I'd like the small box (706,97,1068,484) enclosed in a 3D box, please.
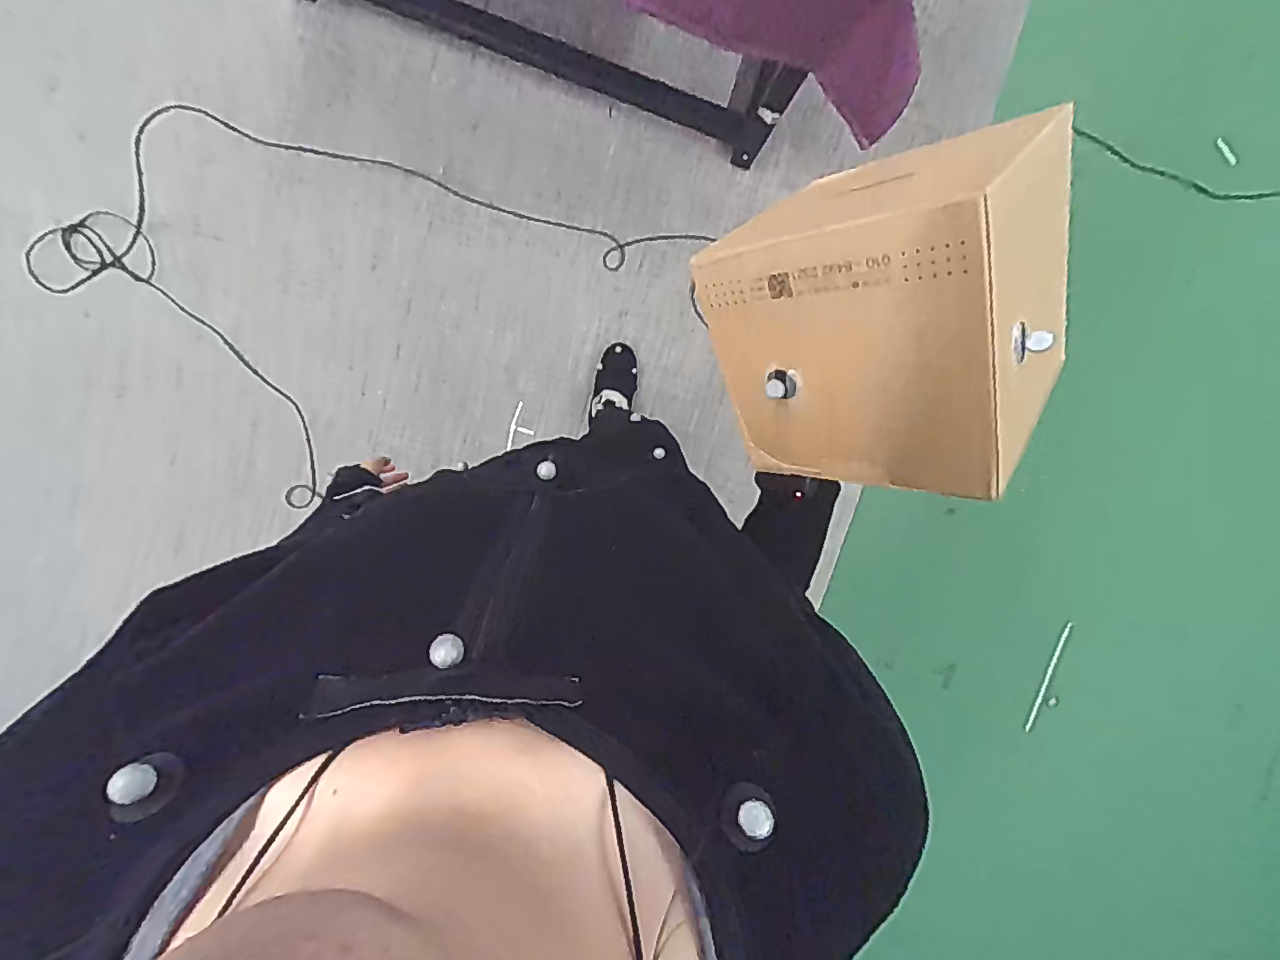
[{"bbox_3d":[0.170,-0.121,0.366,0.179,0.168,0.176,-43,124,-31],"label":"small box"}]
